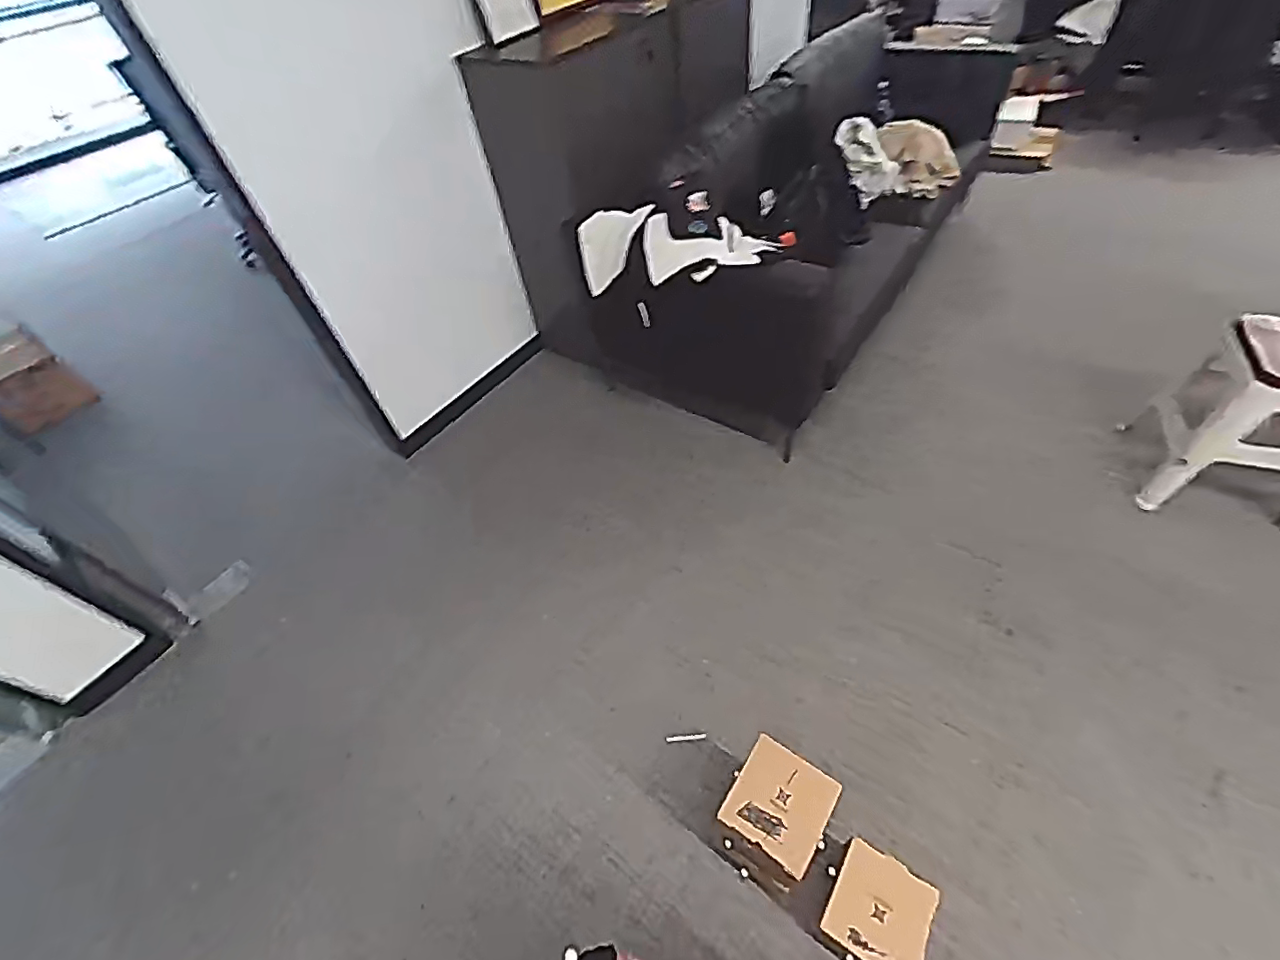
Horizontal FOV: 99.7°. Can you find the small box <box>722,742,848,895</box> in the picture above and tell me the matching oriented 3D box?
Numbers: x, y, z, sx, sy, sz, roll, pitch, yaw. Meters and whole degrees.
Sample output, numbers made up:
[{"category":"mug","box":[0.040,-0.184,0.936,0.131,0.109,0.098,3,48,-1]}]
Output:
[{"category":"small box","box":[0.271,0.646,1.027,0.168,0.176,0.179,25,56,27]}]
